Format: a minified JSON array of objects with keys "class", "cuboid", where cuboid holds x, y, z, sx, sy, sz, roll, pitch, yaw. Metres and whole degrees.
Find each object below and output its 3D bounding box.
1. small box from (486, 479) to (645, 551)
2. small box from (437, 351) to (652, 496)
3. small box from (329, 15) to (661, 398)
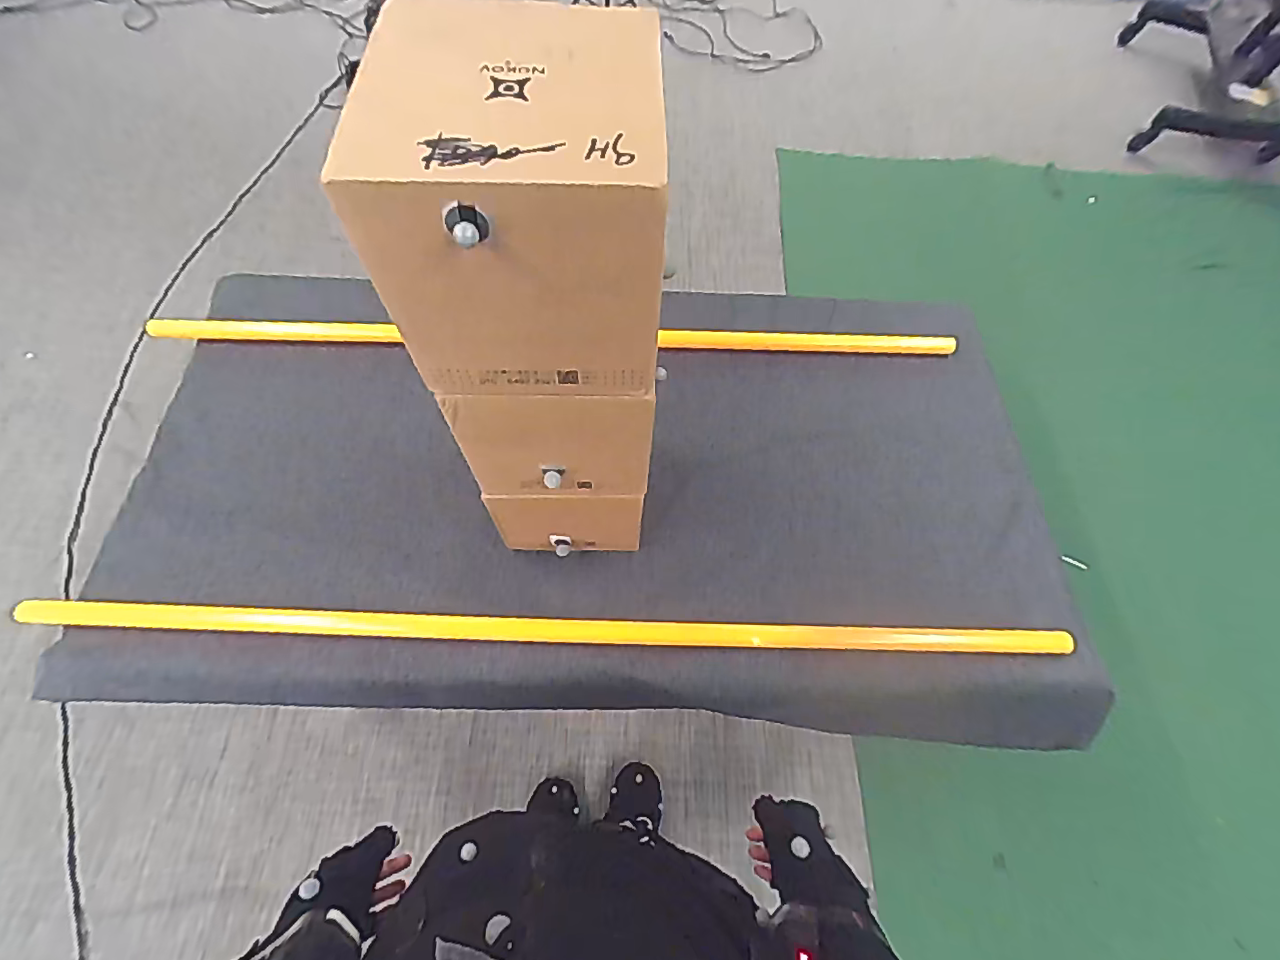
[{"class":"small box","cuboid":[-0.081,-0.023,0.663,0.168,0.176,0.179,-1,64,-2]},{"class":"small box","cuboid":[-0.075,-0.100,0.518,0.168,0.176,0.179,0,63,-1]},{"class":"small box","cuboid":[-0.073,-0.178,0.374,0.168,0.176,0.179,0,62,-1]}]
